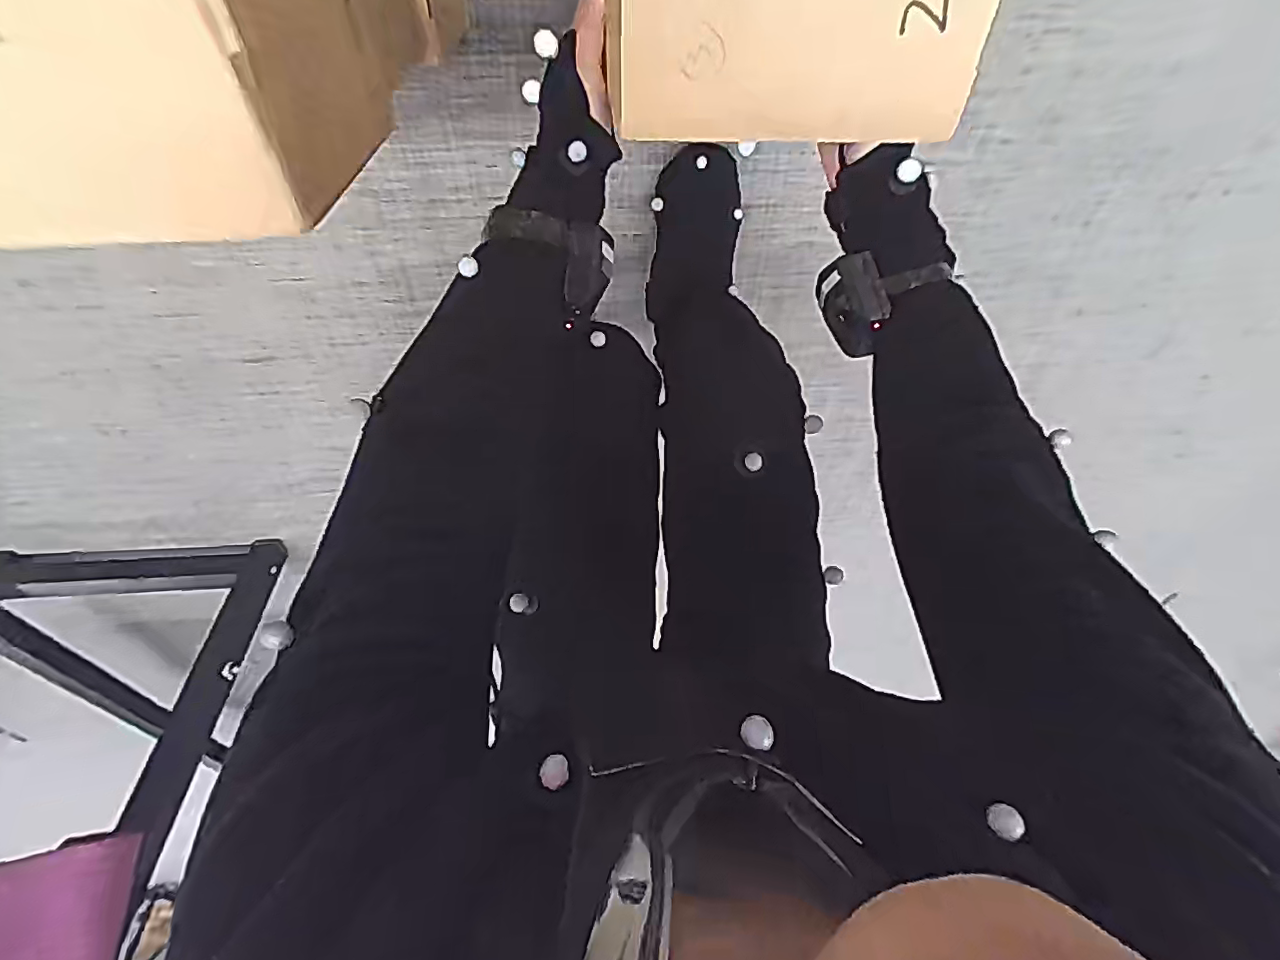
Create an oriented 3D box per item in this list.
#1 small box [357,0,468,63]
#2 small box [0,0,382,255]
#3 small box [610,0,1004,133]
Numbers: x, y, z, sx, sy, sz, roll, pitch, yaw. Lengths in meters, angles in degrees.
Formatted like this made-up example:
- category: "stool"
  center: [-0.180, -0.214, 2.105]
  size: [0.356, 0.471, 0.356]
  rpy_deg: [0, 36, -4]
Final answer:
- category: "small box"
  center: [-0.249, -0.452, 0.431]
  size: [0.179, 0.176, 0.168]
  rpy_deg: [-3, 138, -5]
- category: "small box"
  center: [-0.223, -0.207, 0.214]
  size: [0.179, 0.176, 0.168]
  rpy_deg: [-4, 136, -3]
- category: "small box"
  center: [0.074, -0.292, 0.277]
  size: [0.179, 0.176, 0.168]
  rpy_deg: [-3, 134, -5]
